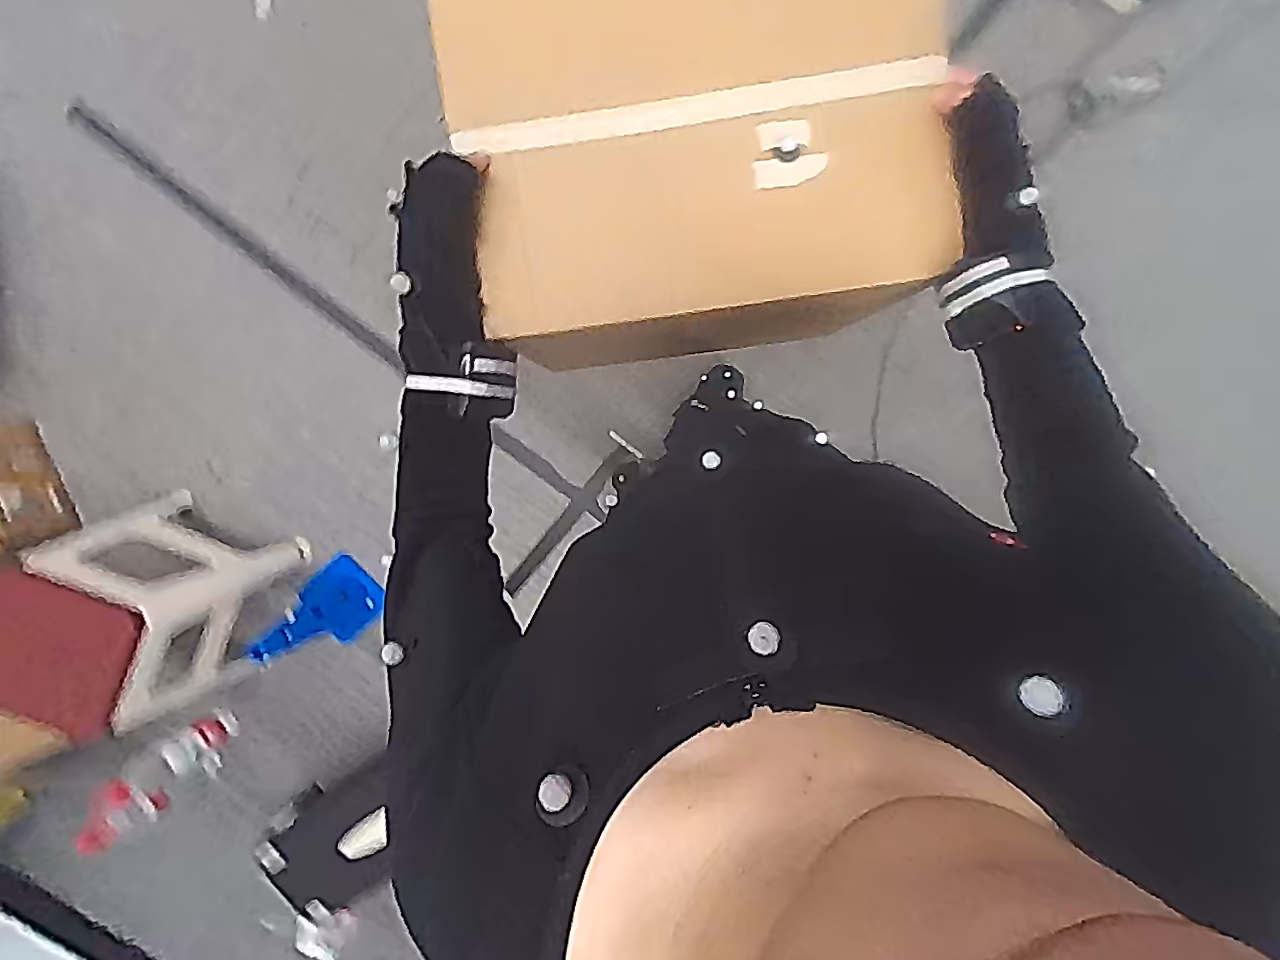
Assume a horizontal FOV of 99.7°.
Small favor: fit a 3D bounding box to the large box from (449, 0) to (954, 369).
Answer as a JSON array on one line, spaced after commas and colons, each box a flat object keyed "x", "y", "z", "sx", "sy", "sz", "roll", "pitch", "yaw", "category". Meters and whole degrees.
[{"x": 0.053, "y": -0.321, "z": 0.602, "sx": 0.408, "sy": 0.320, "sz": 0.320, "roll": -7, "pitch": 95, "yaw": 1, "category": "large box"}]
